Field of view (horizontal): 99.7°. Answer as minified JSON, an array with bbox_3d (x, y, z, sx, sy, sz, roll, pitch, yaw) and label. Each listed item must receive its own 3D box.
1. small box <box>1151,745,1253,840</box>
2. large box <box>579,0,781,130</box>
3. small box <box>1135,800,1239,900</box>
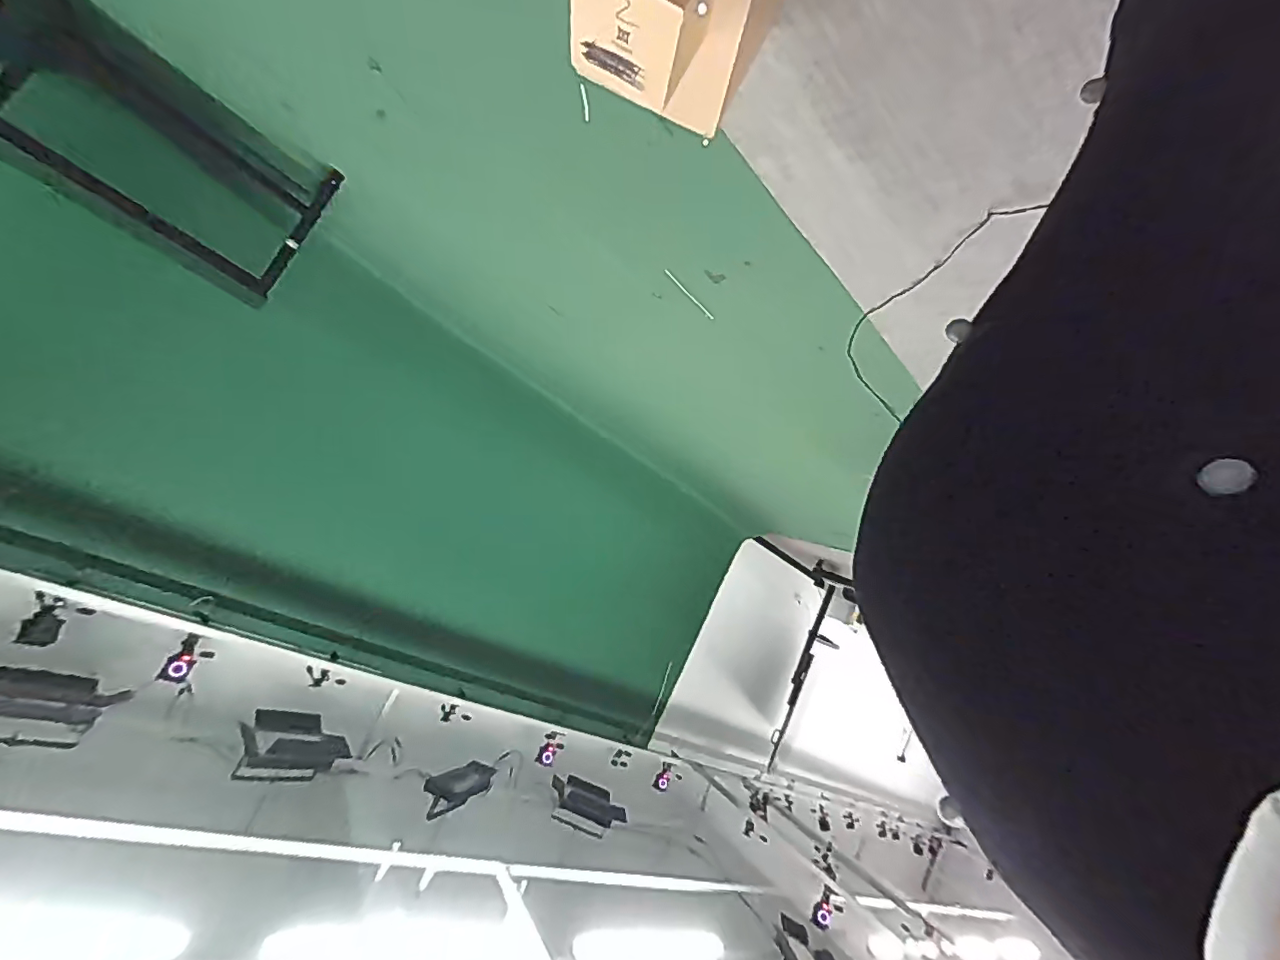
[{"bbox_3d":[1.604,0.883,1.541,0.179,0.176,0.168,33,169,-32],"label":"small box"},{"bbox_3d":[0.098,-0.929,0.914,0.320,0.320,0.408,27,171,0],"label":"large box"},{"bbox_3d":[1.534,1.029,1.516,0.179,0.176,0.168,33,169,-31],"label":"small box"}]
